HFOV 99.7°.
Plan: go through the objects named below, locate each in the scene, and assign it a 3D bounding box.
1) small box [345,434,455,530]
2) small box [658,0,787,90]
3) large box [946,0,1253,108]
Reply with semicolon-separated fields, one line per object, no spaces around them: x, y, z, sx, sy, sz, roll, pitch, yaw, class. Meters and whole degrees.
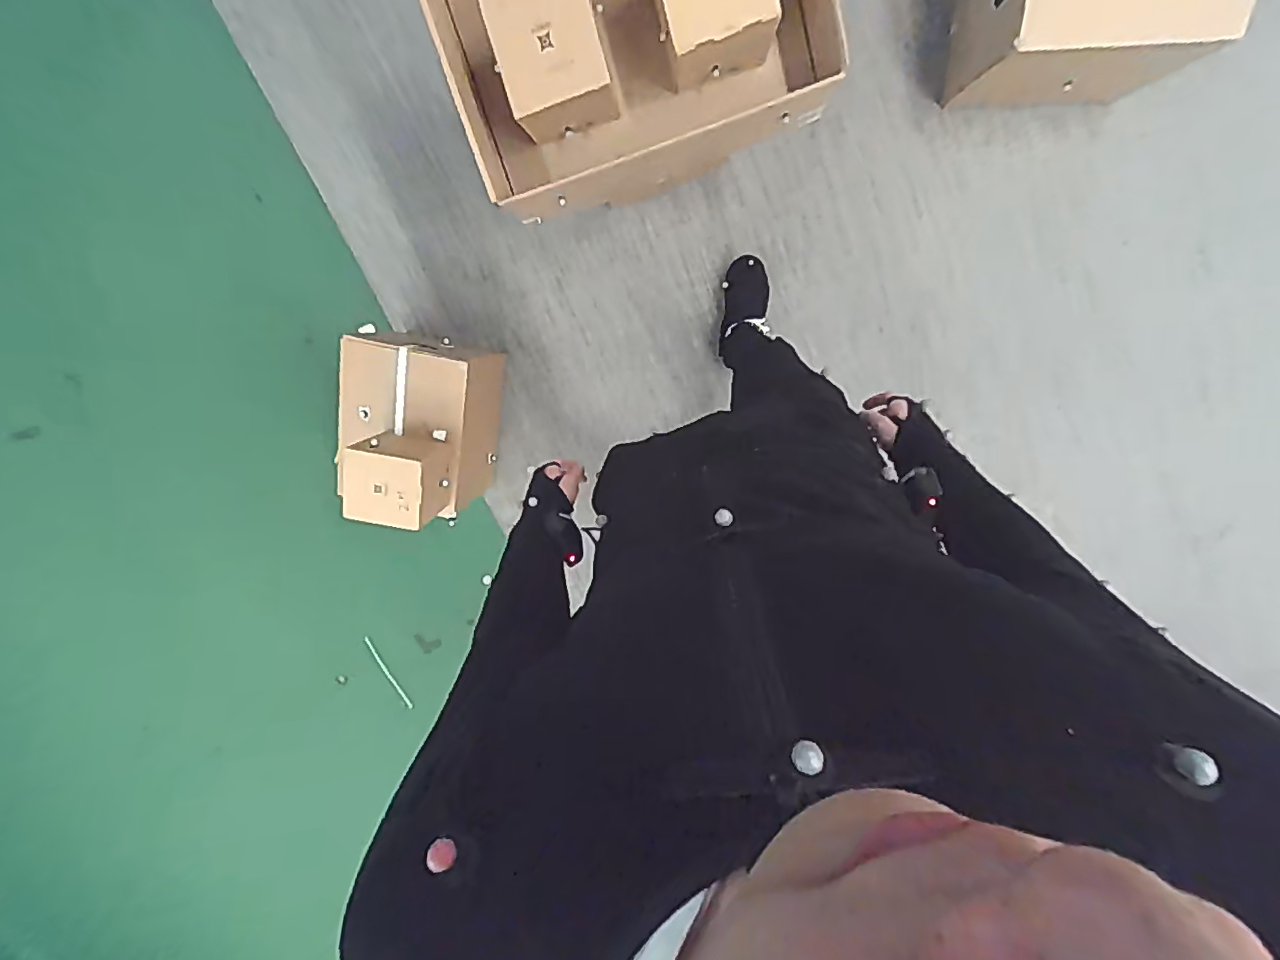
-0.551;-0.003;1.253;0.179;0.176;0.168;10;107;0;small box
0.121;-0.773;0.862;0.168;0.176;0.179;-15;106;9;small box
0.916;-0.996;1.101;0.408;0.320;0.320;0;106;5;large box
